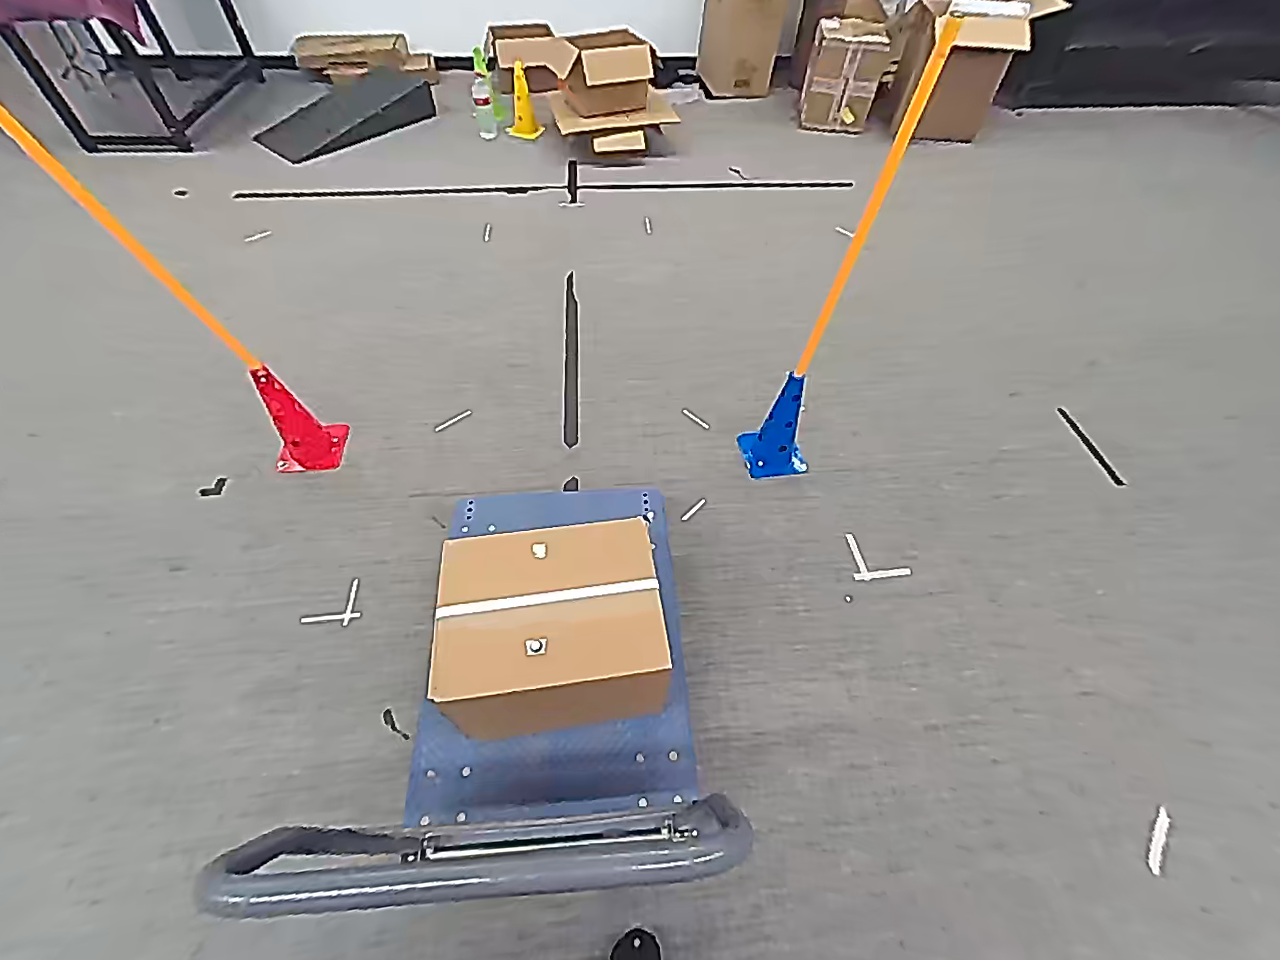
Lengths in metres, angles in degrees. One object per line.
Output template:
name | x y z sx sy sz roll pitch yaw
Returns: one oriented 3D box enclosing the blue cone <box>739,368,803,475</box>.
blue cone | 0.455 -0.196 1.727 0.193 0.380 0.192 -6 52 -7
